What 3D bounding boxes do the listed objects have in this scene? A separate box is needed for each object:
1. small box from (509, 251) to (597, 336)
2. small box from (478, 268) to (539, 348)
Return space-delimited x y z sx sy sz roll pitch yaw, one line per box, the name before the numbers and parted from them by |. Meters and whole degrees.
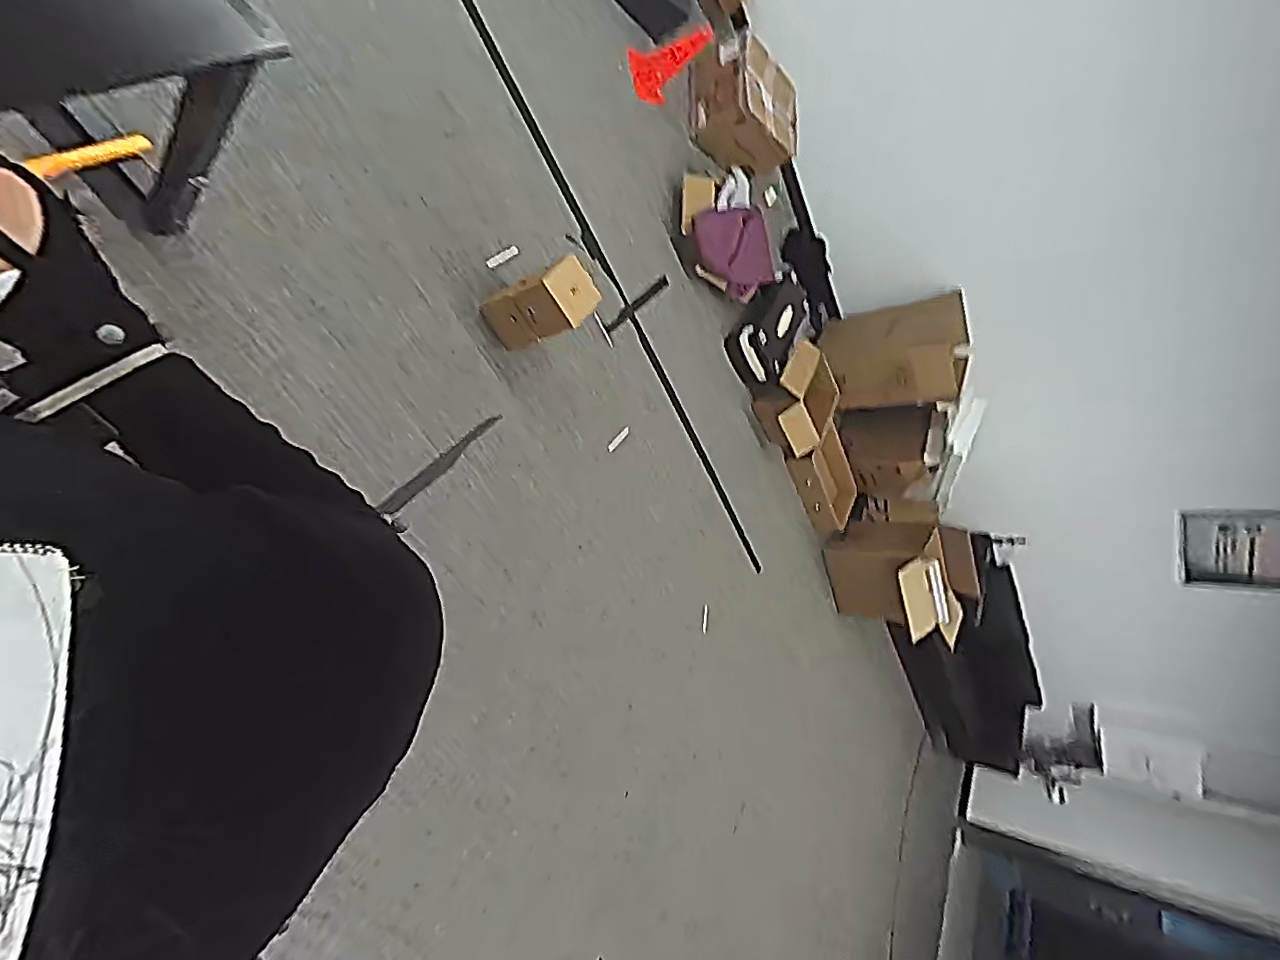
small box | -0.273 -0.575 1.682 0.168 0.176 0.179 53 53 -30
small box | -0.399 -0.561 1.784 0.168 0.176 0.179 -55 126 -34
